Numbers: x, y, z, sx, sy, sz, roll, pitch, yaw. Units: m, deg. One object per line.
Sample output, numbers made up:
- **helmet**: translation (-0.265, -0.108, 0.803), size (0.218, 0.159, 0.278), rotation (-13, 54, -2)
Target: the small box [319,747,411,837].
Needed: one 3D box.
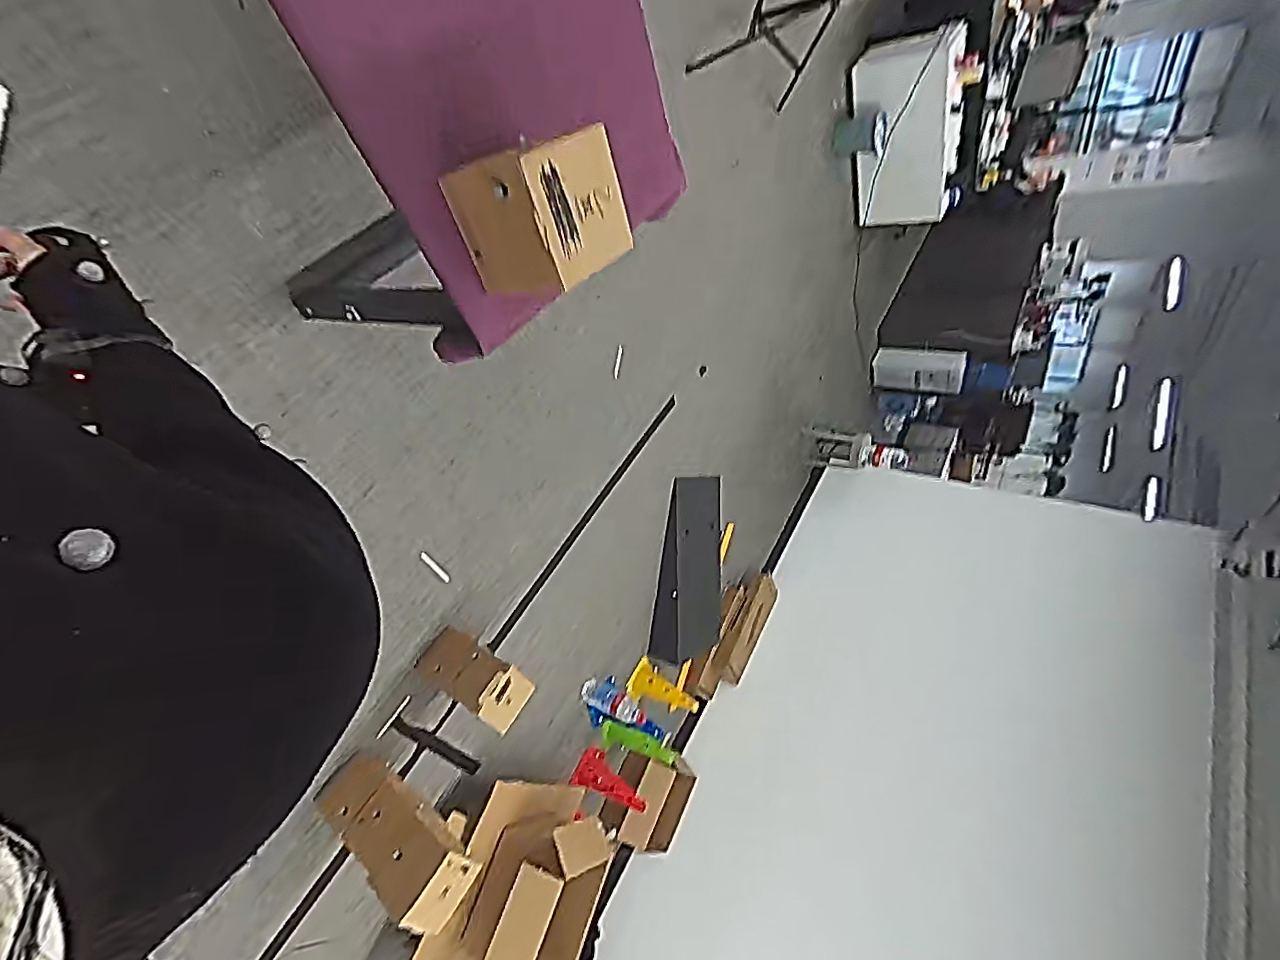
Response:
- **small box**: translation (-0.818, 0.943, 1.610), size (0.179, 0.176, 0.168), rotation (-50, 139, -30)

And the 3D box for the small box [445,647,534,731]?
- **small box**: translation (-0.474, 0.648, 1.696), size (0.168, 0.176, 0.179), rotation (-54, 142, -28)

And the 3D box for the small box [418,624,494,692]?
- **small box**: translation (-0.602, 0.609, 1.793), size (0.179, 0.176, 0.168), rotation (-57, 142, -26)

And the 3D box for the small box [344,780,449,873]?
- **small box**: translation (-0.686, 0.986, 1.526), size (0.168, 0.176, 0.179), rotation (-53, 139, -27)

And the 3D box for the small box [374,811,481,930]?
- **small box**: translation (-0.565, 1.022, 1.421), size (0.179, 0.176, 0.168), rotation (-51, 138, -28)
